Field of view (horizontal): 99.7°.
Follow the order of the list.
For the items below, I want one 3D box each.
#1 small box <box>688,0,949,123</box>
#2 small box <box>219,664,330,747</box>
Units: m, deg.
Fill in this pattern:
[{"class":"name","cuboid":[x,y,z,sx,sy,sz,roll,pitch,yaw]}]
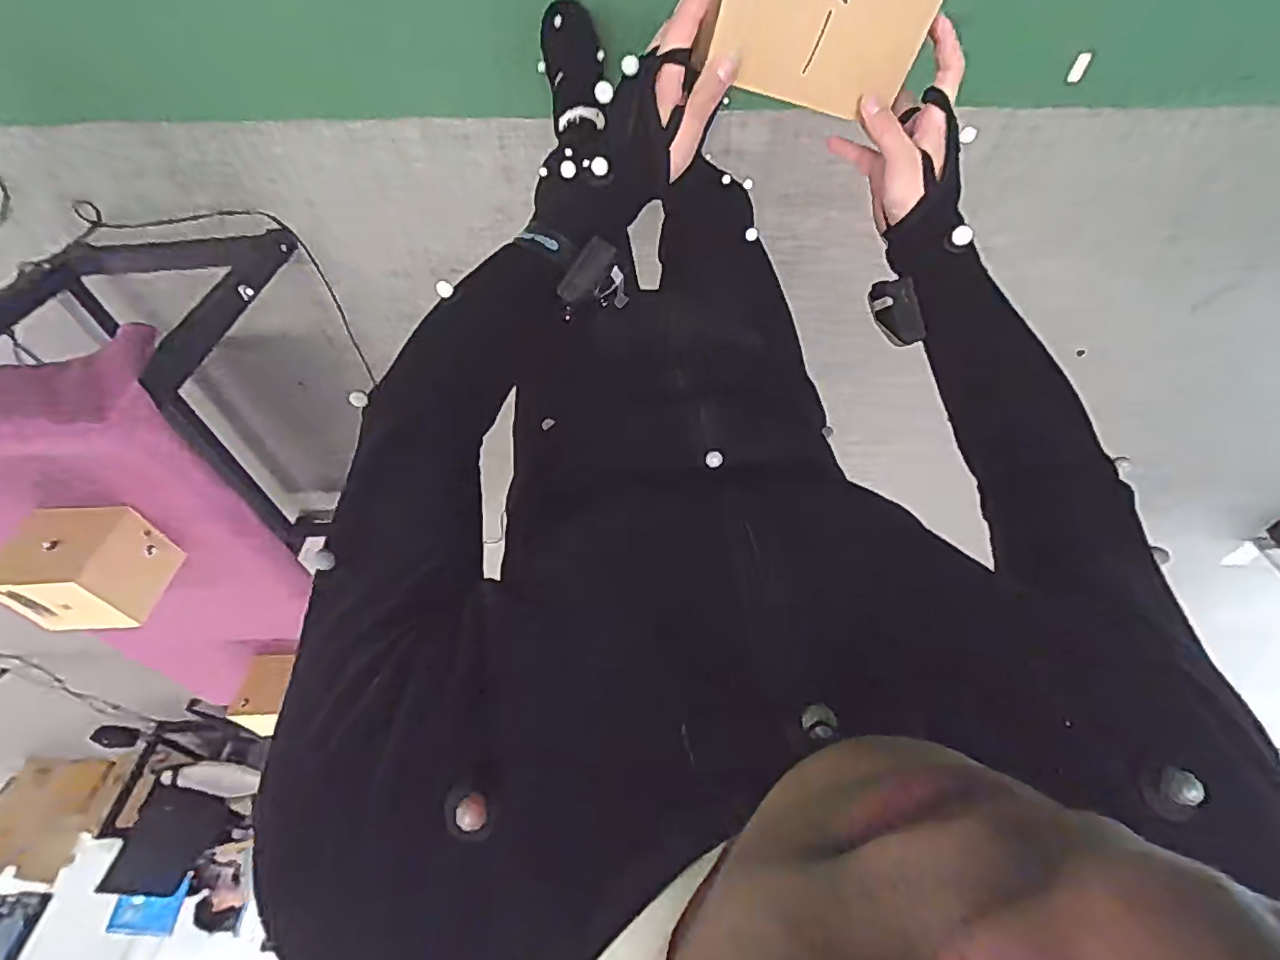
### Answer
[{"class":"small box","cuboid":[0.147,-0.431,0.439,0.168,0.176,0.179,7,135,-14]},{"class":"small box","cuboid":[-0.979,0.612,1.474,0.179,0.176,0.168,-3,138,1]}]
